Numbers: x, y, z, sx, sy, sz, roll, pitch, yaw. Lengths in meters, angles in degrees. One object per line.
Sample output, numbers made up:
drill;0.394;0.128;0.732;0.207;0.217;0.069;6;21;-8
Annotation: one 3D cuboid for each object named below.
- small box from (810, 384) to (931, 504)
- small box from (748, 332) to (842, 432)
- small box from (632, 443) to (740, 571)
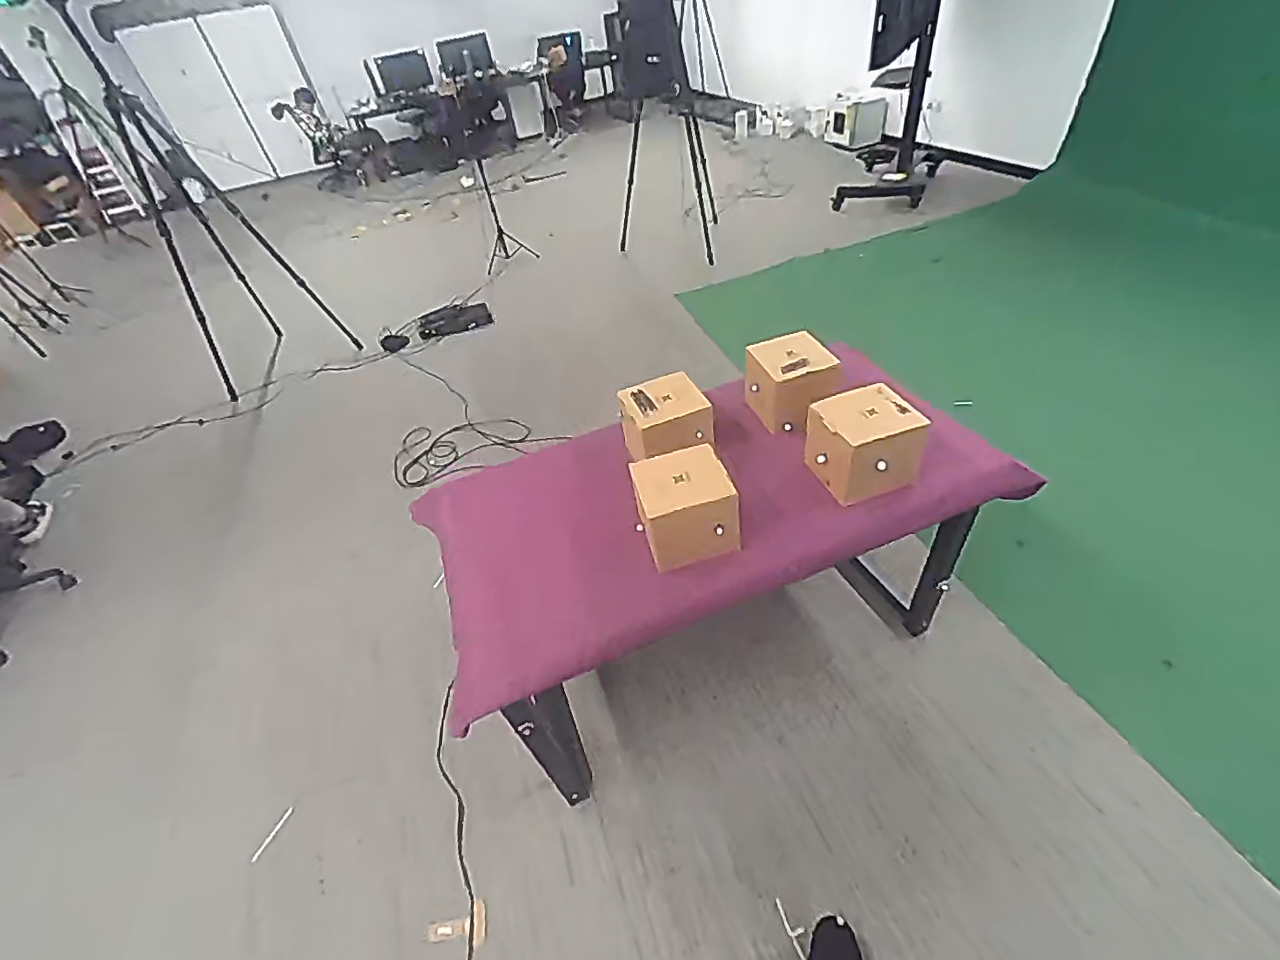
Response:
small box;0.479;-0.074;1.151;0.179;0.176;0.168;-17;43;-6
small box;0.378;-0.237;1.343;0.168;0.176;0.179;-16;43;-6
small box;0.094;0.056;1.094;0.179;0.176;0.168;-15;42;-3
